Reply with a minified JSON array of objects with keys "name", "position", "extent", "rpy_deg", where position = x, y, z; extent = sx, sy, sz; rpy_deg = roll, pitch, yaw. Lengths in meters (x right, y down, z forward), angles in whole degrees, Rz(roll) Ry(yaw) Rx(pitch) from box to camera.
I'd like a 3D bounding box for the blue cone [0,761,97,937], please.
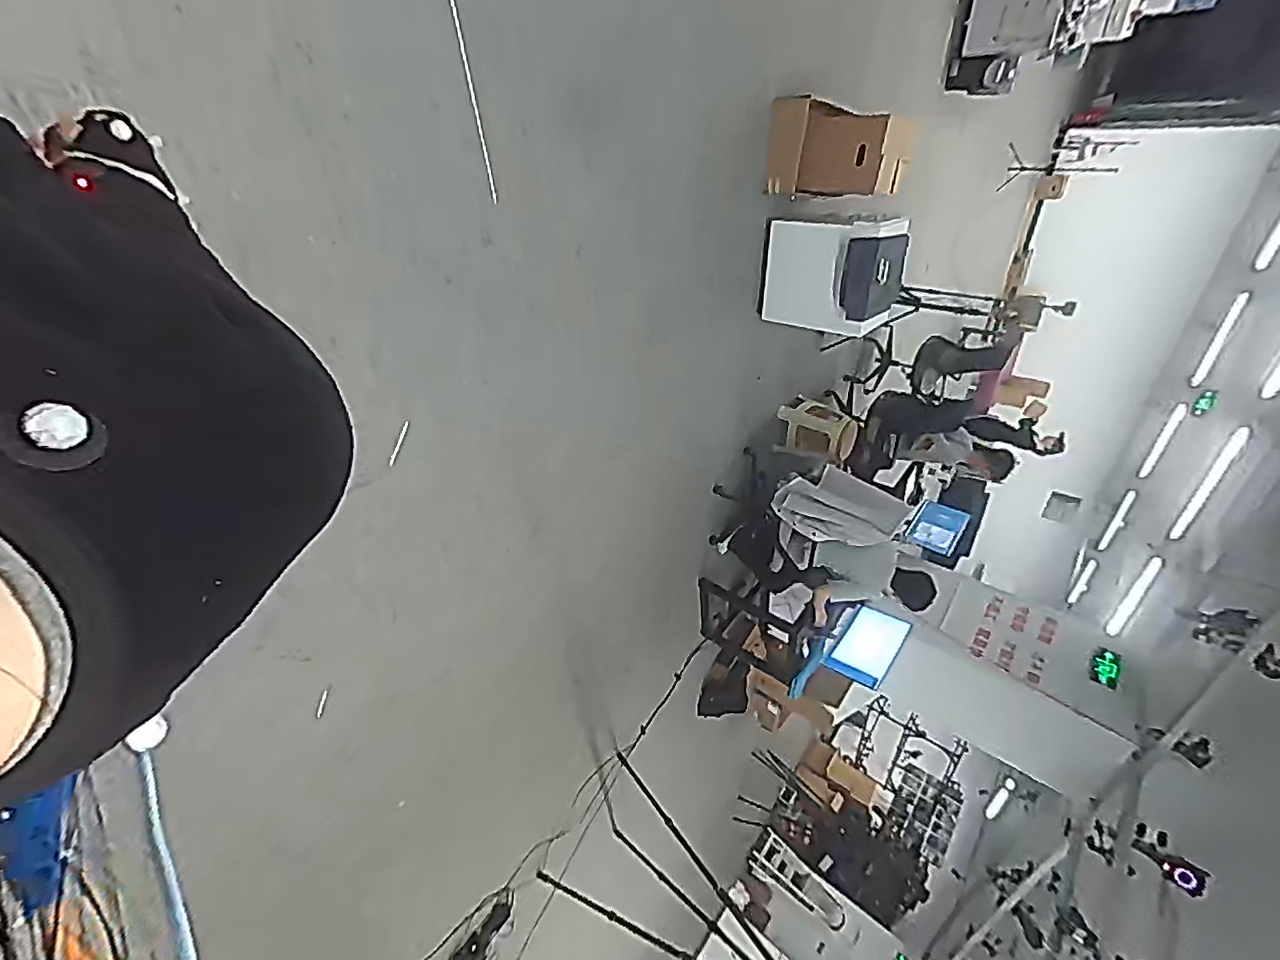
[{"name":"blue cone","position":[-1.244,0.785,1.130],"extent":[0.193,0.380,0.192],"rpy_deg":[23,89,-57]}]
